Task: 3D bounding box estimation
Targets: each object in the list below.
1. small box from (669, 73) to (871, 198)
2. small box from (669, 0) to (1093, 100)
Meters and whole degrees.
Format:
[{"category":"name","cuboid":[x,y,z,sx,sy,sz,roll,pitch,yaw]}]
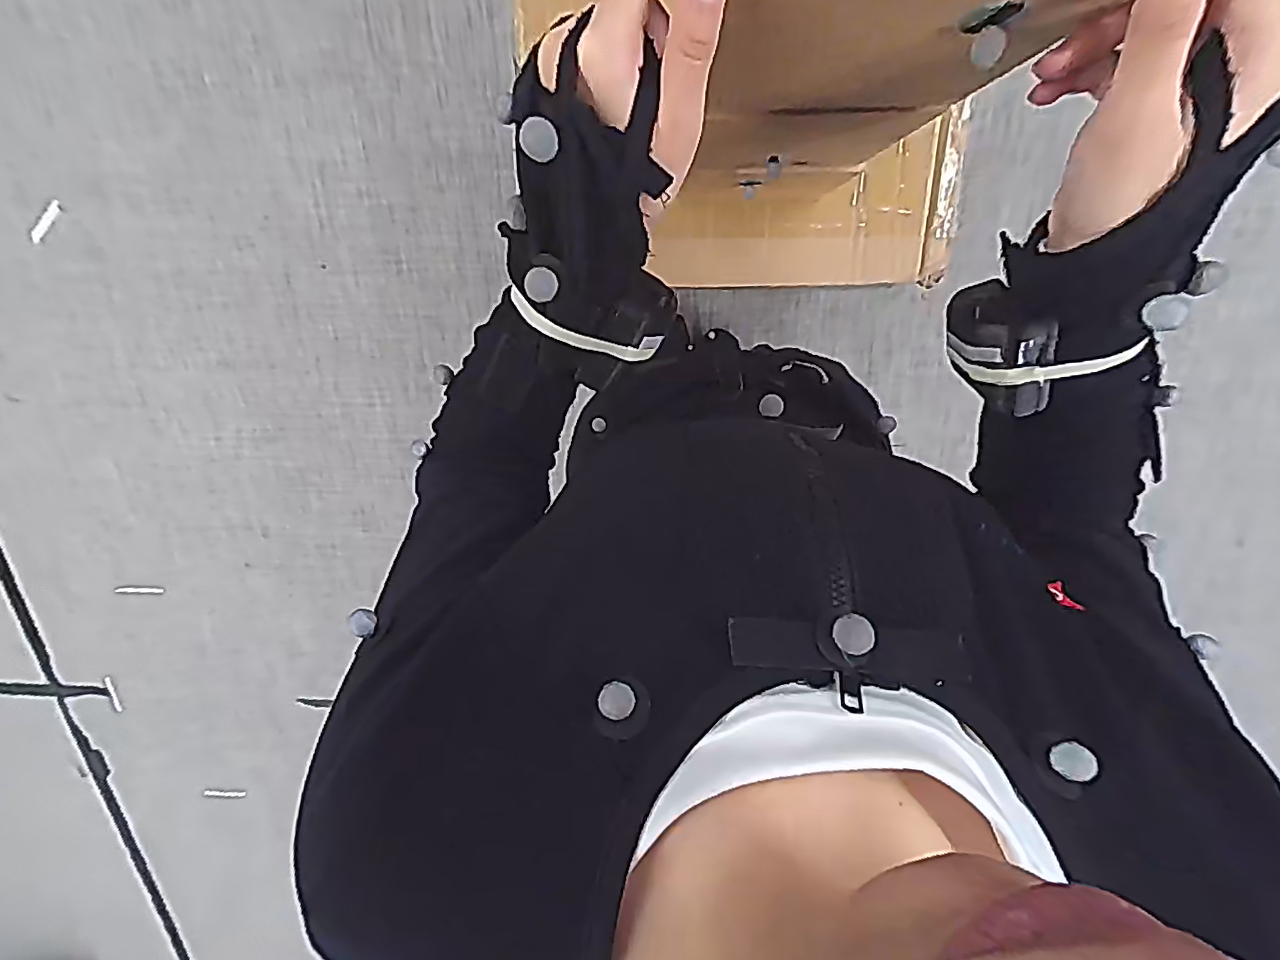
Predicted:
[{"category":"small box","cuboid":[0.120,-0.386,0.541,0.179,0.176,0.168,1,109,3]},{"category":"small box","cuboid":[0.102,-0.283,0.228,0.179,0.176,0.168,1,110,3]}]
